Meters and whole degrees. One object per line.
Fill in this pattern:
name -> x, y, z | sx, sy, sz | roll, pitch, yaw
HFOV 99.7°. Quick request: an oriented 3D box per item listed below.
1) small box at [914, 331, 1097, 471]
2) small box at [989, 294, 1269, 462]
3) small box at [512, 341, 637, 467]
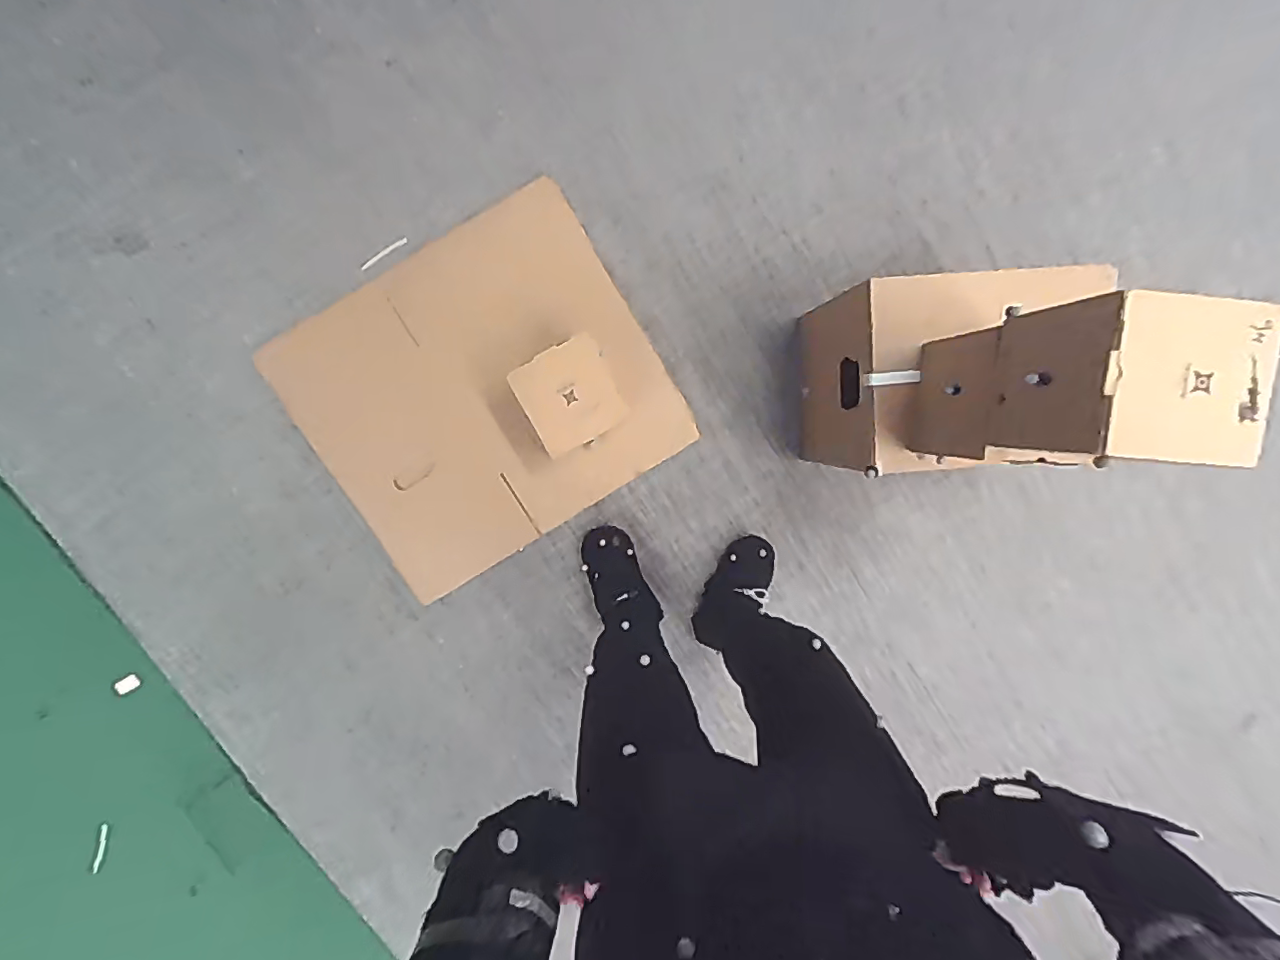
small box -> 0.525, -0.110, 0.785 | 0.168, 0.176, 0.179 | 2, 95, -4
small box -> 0.542, -0.106, 0.625 | 0.179, 0.176, 0.168 | 1, 94, -4
small box -> -0.121, -0.141, 1.041 | 0.168, 0.176, 0.179 | -30, 97, 1
